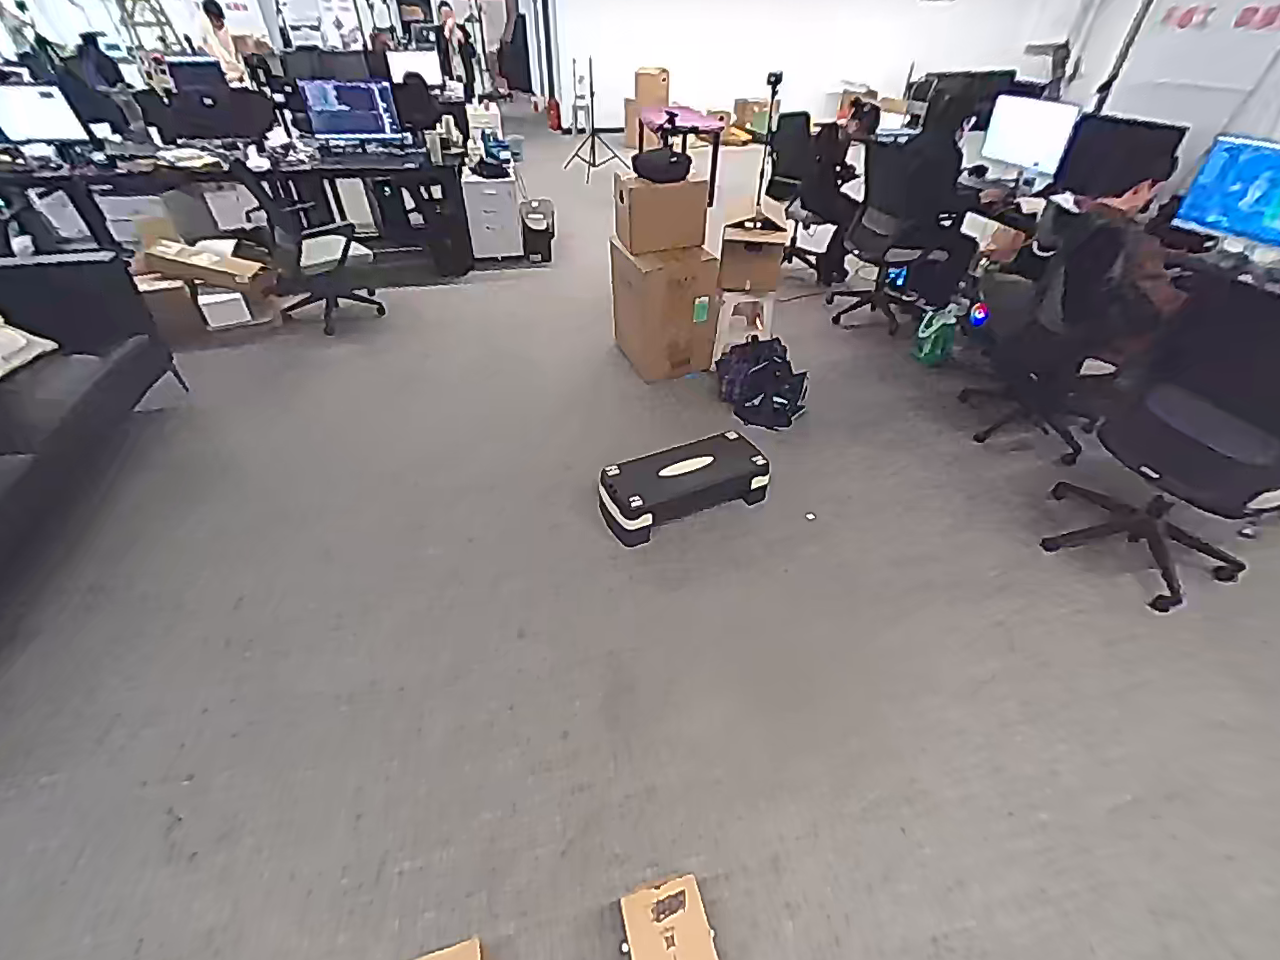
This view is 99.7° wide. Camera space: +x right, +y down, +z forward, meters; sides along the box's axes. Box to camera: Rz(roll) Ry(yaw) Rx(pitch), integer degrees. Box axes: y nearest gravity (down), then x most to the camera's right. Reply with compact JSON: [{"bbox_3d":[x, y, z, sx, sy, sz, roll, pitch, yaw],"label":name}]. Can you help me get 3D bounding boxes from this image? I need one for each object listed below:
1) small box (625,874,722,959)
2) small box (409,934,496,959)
[{"bbox_3d":[0.066,0.965,1.124,0.168,0.176,0.179,-11,42,-10],"label":"small box"},{"bbox_3d":[-0.368,1.037,1.052,0.168,0.176,0.179,-11,40,-13],"label":"small box"}]
